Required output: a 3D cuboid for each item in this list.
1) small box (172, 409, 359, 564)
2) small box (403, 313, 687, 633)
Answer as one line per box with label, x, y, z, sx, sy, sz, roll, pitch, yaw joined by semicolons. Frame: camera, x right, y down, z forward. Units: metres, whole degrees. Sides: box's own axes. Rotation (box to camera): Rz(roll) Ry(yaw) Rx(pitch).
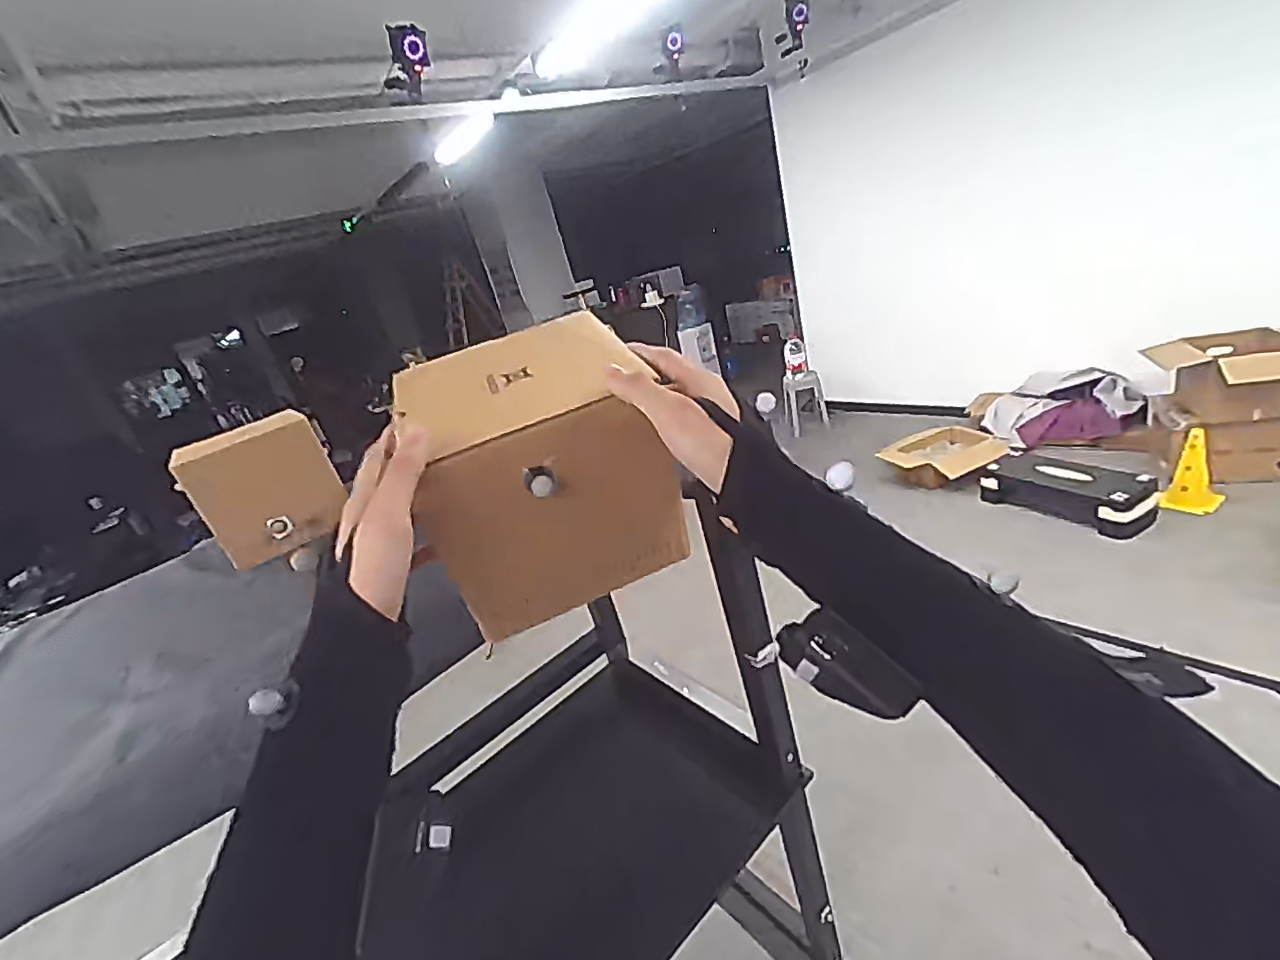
small box;-0.554;0.004;0.812;0.168;0.176;0.179;-32;28;-30
small box;-0.072;-0.011;0.446;0.179;0.176;0.168;-23;37;-10
